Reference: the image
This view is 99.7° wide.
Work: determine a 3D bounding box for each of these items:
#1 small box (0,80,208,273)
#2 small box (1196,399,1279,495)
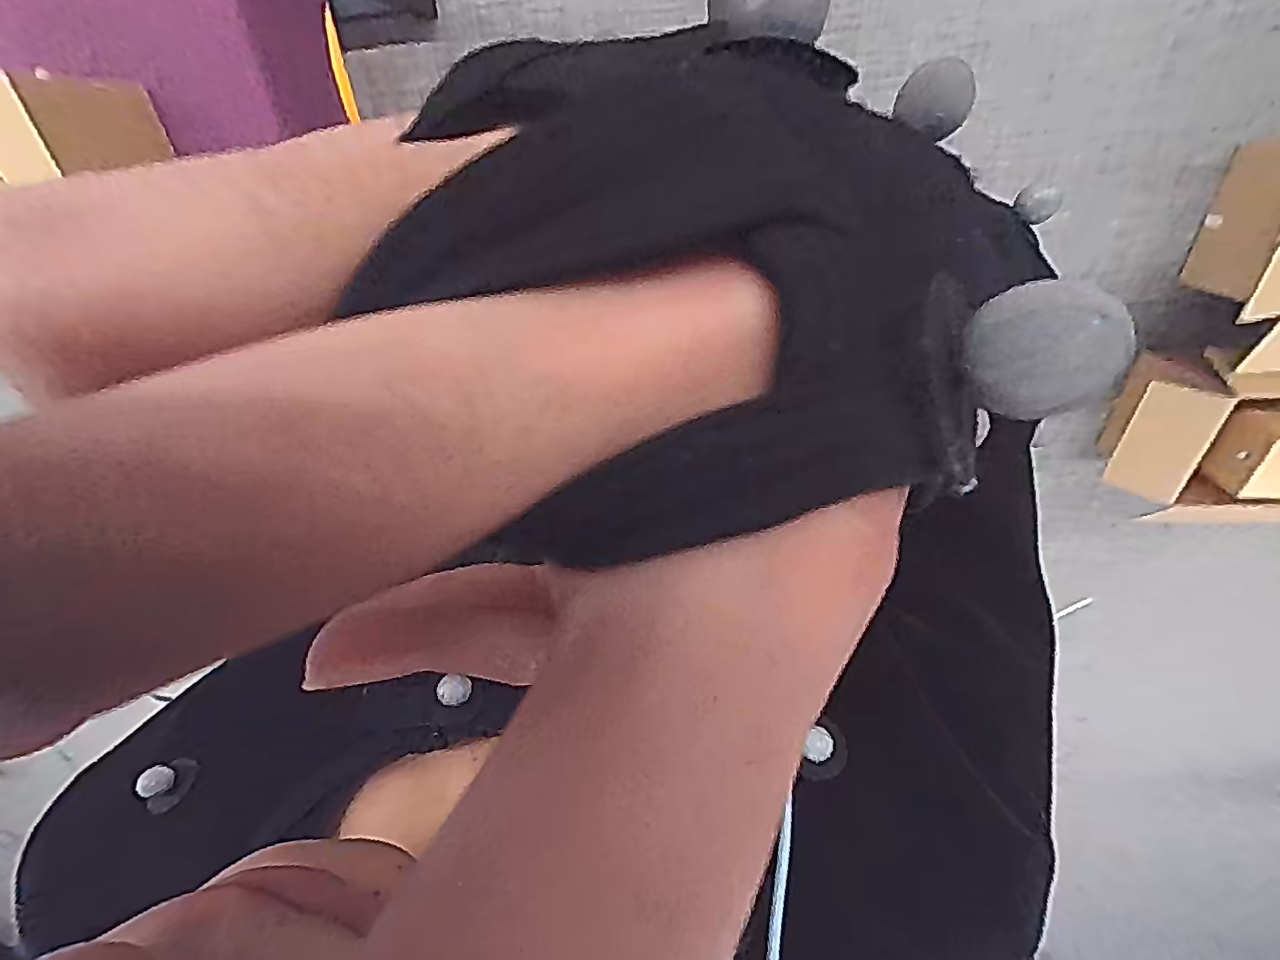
[{"bbox_3d":[-0.684,-0.362,0.651,0.168,0.176,0.179,-2,122,6],"label":"small box"},{"bbox_3d":[1.534,-0.080,1.318,0.168,0.176,0.179,1,123,6],"label":"small box"}]
